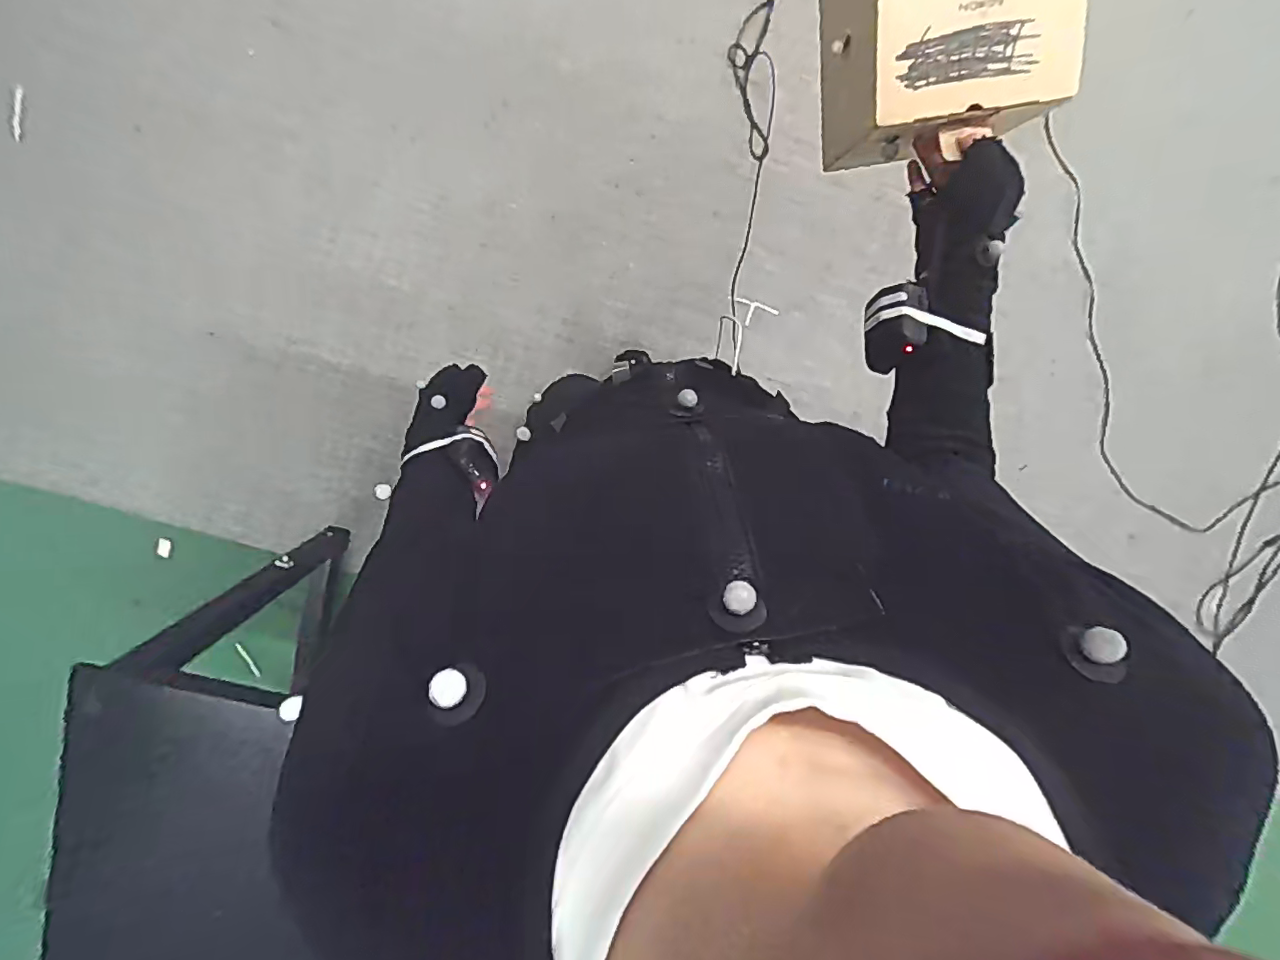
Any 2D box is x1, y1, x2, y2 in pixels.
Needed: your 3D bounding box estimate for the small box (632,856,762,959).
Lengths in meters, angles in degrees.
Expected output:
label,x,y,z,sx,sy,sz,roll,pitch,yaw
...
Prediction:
label,x,y,z,sx,sy,sz,roll,pitch,yaw
small box,0.080,0.724,0.826,0.168,0.176,0.179,8,101,-5
